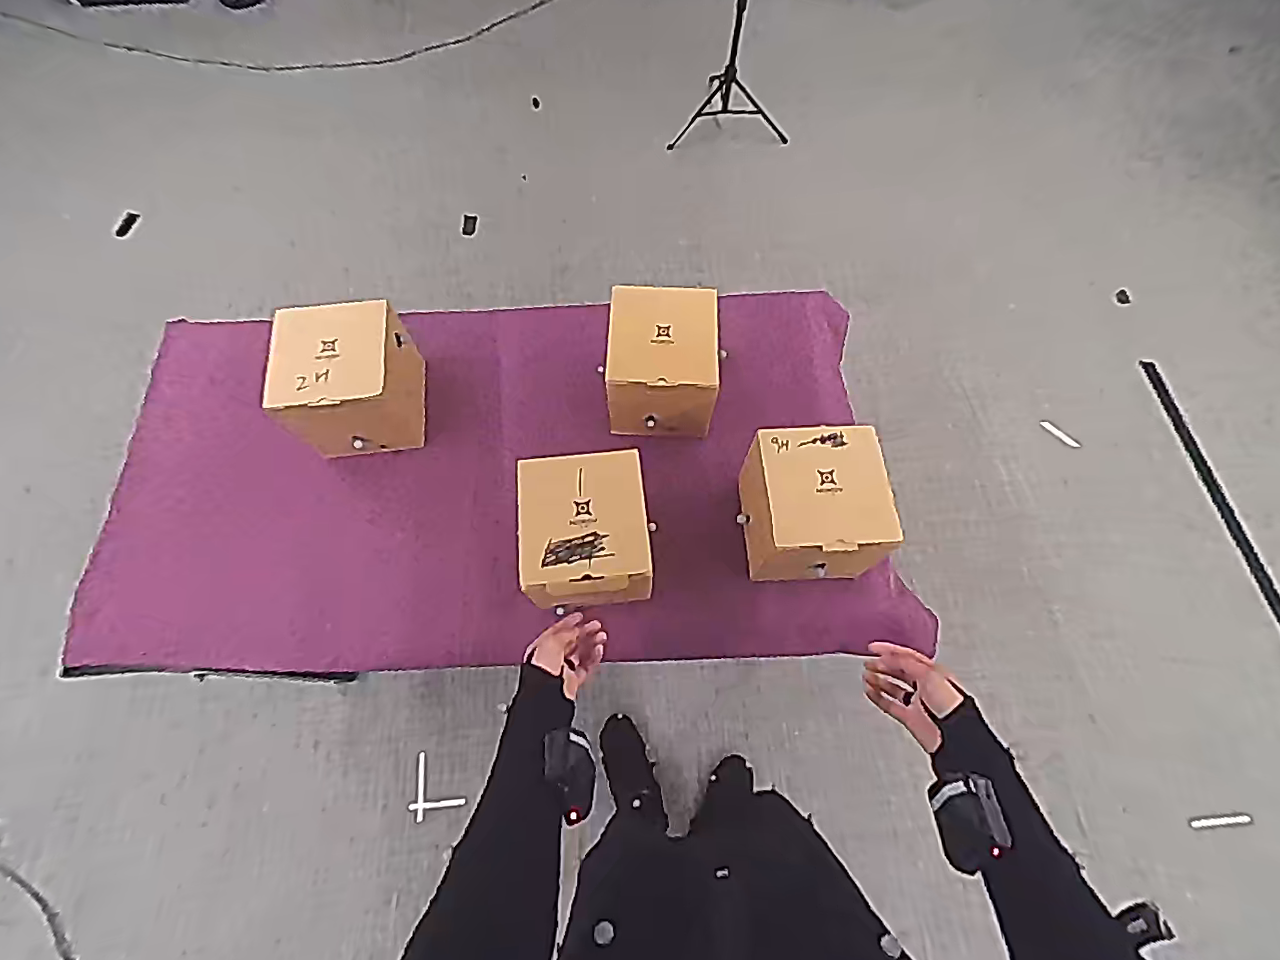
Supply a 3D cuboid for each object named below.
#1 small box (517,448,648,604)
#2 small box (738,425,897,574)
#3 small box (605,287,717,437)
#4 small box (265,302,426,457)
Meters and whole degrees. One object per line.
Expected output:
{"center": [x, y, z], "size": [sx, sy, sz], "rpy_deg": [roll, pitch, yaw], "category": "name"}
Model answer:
{"center": [-0.076, 0.074, 0.770], "size": [0.168, 0.176, 0.179], "rpy_deg": [-5, 66, -3], "category": "small box"}
{"center": [0.244, 0.037, 0.788], "size": [0.168, 0.176, 0.179], "rpy_deg": [-2, 65, -1], "category": "small box"}
{"center": [0.032, -0.189, 0.886], "size": [0.168, 0.176, 0.179], "rpy_deg": [2, 69, 0], "category": "small box"}
{"center": [-0.454, -0.155, 0.864], "size": [0.168, 0.176, 0.179], "rpy_deg": [-7, 68, -4], "category": "small box"}
